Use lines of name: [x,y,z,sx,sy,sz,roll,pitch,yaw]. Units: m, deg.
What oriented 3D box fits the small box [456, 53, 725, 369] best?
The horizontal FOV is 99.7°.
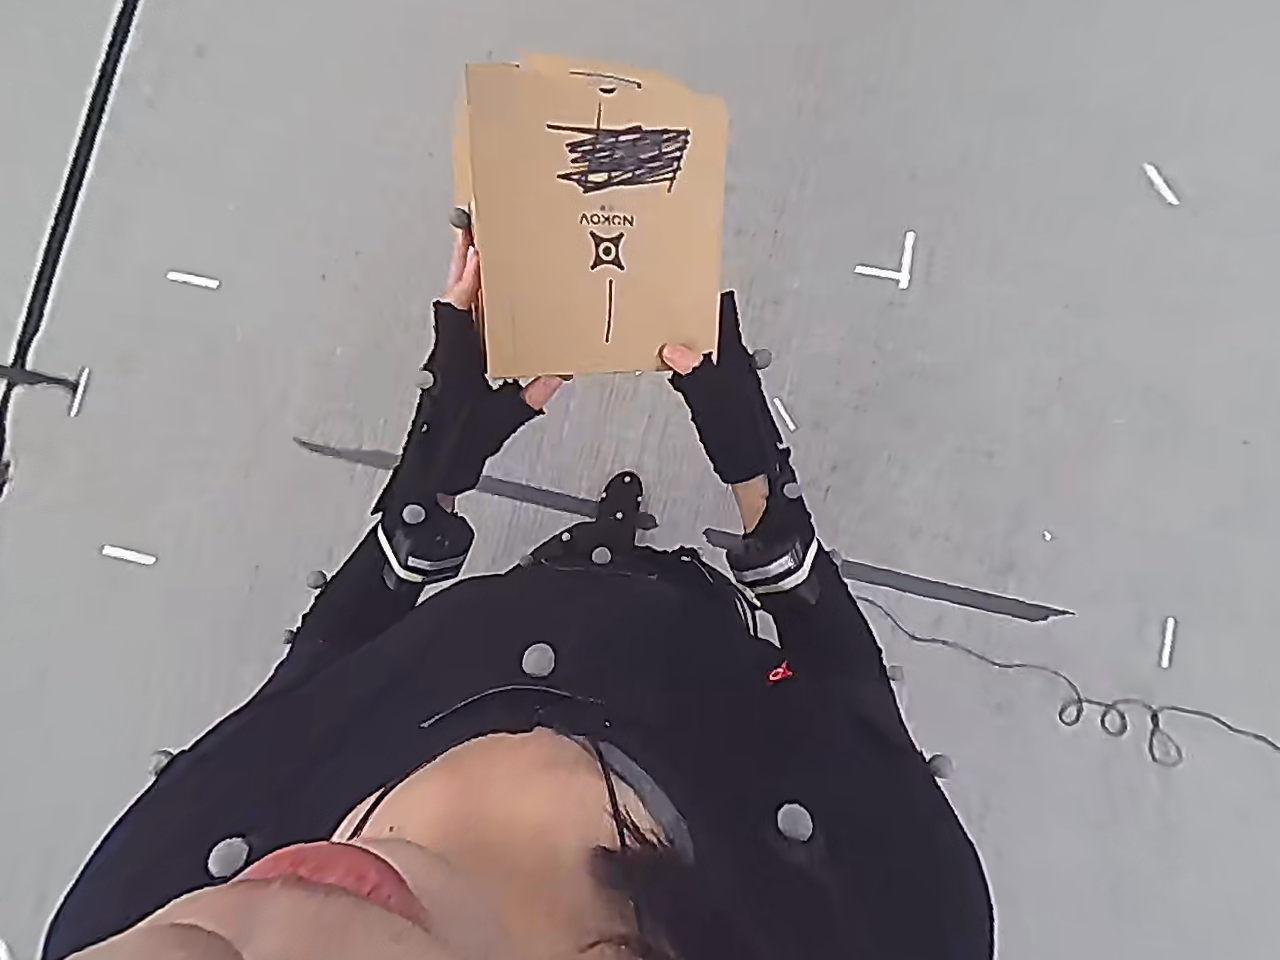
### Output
small box: [-0.049,-0.183,0.421,0.168,0.176,0.179,-6,109,-19]
